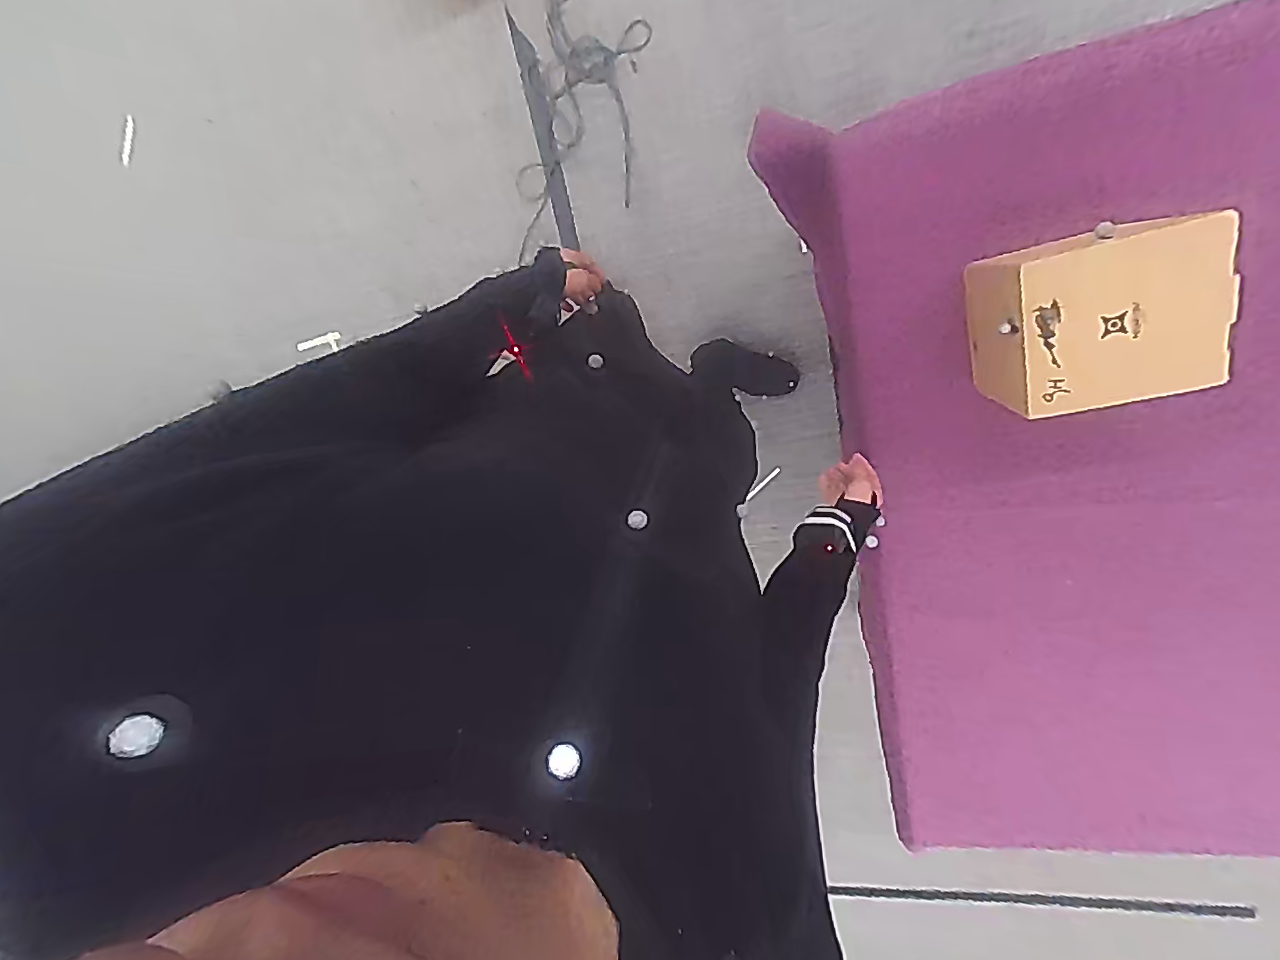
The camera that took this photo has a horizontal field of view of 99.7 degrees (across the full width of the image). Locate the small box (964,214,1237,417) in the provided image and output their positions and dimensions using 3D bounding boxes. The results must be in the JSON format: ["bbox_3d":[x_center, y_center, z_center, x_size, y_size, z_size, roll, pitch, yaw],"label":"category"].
[{"bbox_3d":[0.496,-0.185,0.611,0.179,0.176,0.168,-10,108,16],"label":"small box"}]
